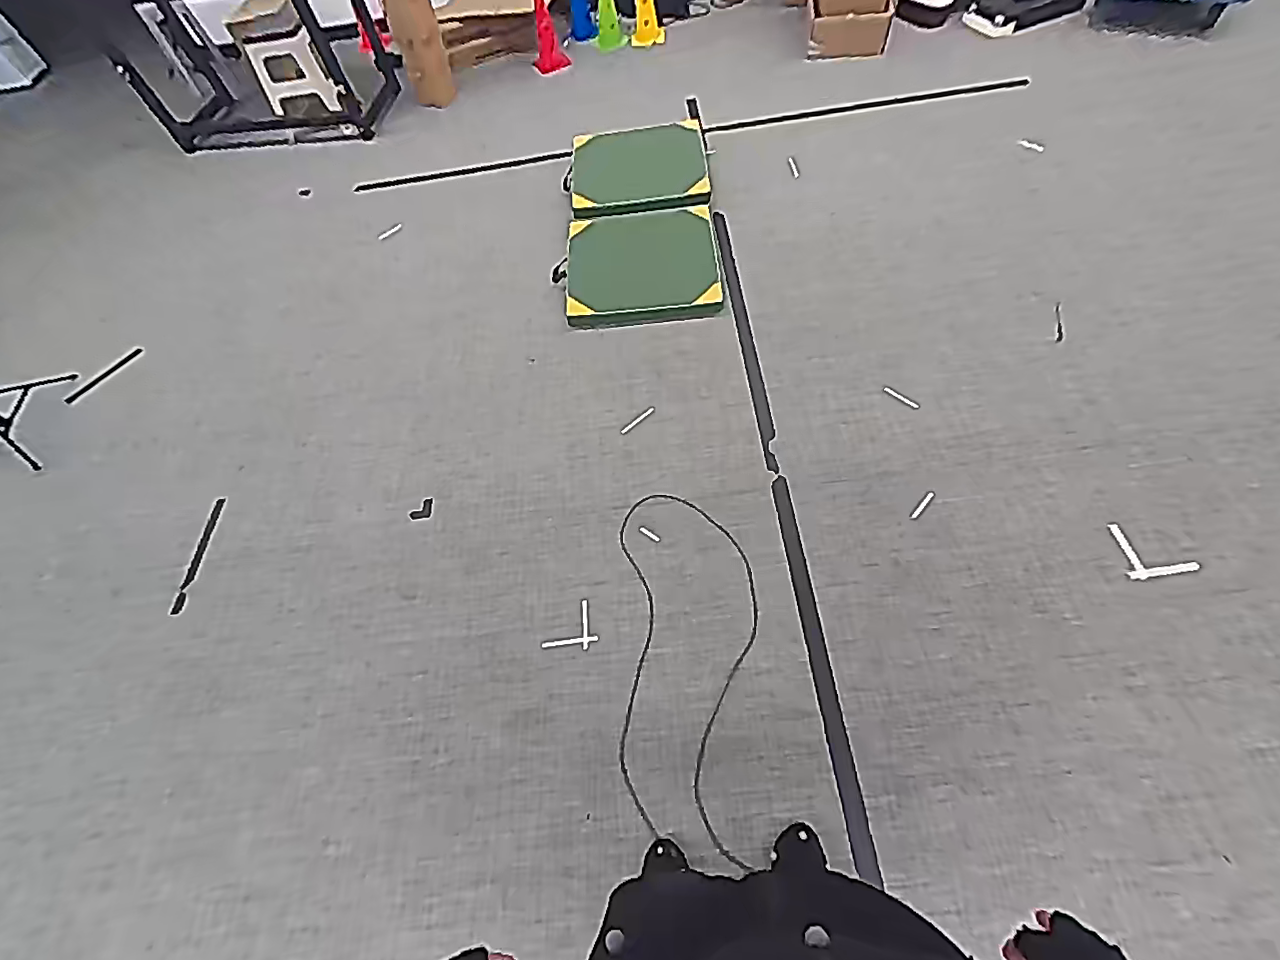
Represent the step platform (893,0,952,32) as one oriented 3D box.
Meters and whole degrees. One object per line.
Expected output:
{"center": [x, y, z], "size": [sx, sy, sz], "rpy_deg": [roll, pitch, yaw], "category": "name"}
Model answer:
{"center": [1.768, -2.761, 3.017], "size": [0.684, 0.204, 0.286], "rpy_deg": [-32, 61, -11], "category": "step platform"}
